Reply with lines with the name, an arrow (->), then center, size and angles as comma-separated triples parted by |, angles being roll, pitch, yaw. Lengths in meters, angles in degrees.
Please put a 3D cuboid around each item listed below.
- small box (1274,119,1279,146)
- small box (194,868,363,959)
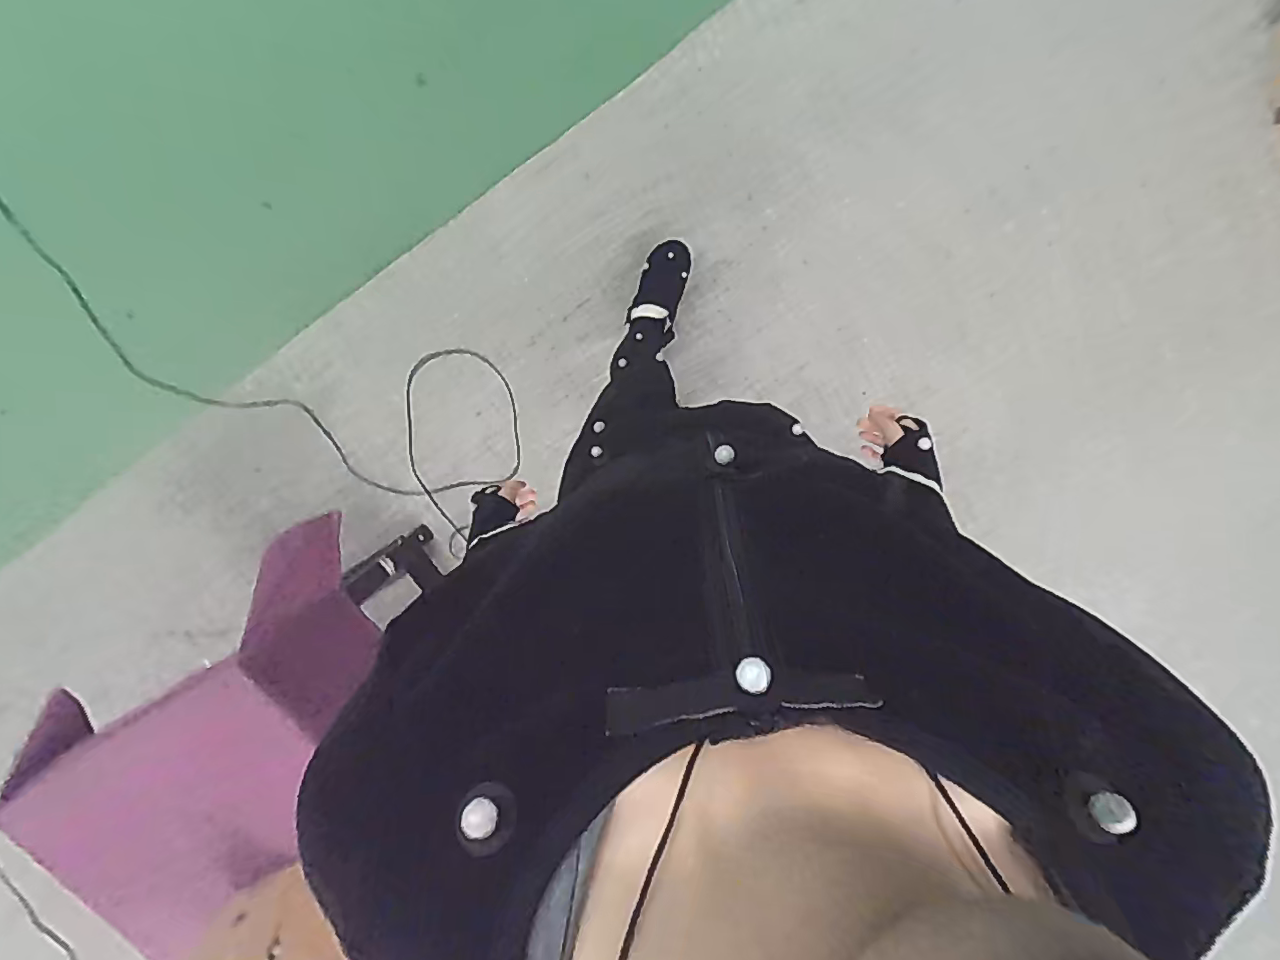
small box -> 1.577, -0.789, 1.177 | 0.179, 0.176, 0.168 | -31, 102, 10
small box -> -0.616, 0.799, 0.909 | 0.168, 0.176, 0.179 | -30, 102, 10
